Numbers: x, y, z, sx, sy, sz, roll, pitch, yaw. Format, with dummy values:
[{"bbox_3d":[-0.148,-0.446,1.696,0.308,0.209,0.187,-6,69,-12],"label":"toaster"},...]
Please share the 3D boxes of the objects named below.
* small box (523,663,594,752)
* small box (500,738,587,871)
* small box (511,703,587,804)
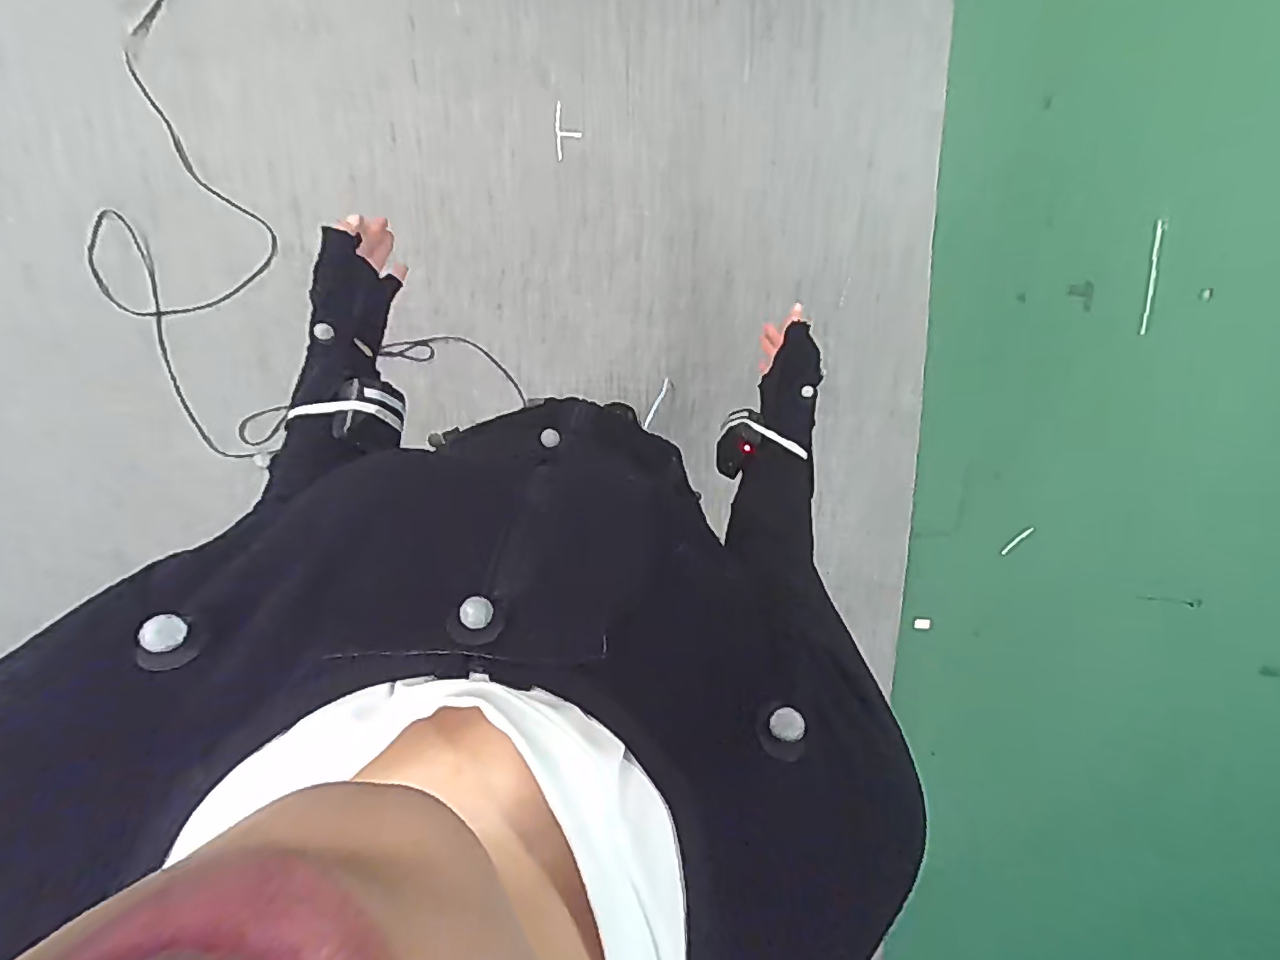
[{"bbox_3d":[-0.216,0.608,1.442,0.168,0.176,0.179,-7,101,-6],"label":"small box"},{"bbox_3d":[-0.194,0.657,1.117,0.168,0.176,0.179,-1,100,-5],"label":"small box"},{"bbox_3d":[-0.211,0.640,1.263,0.168,0.176,0.179,-2,100,-6],"label":"small box"}]
